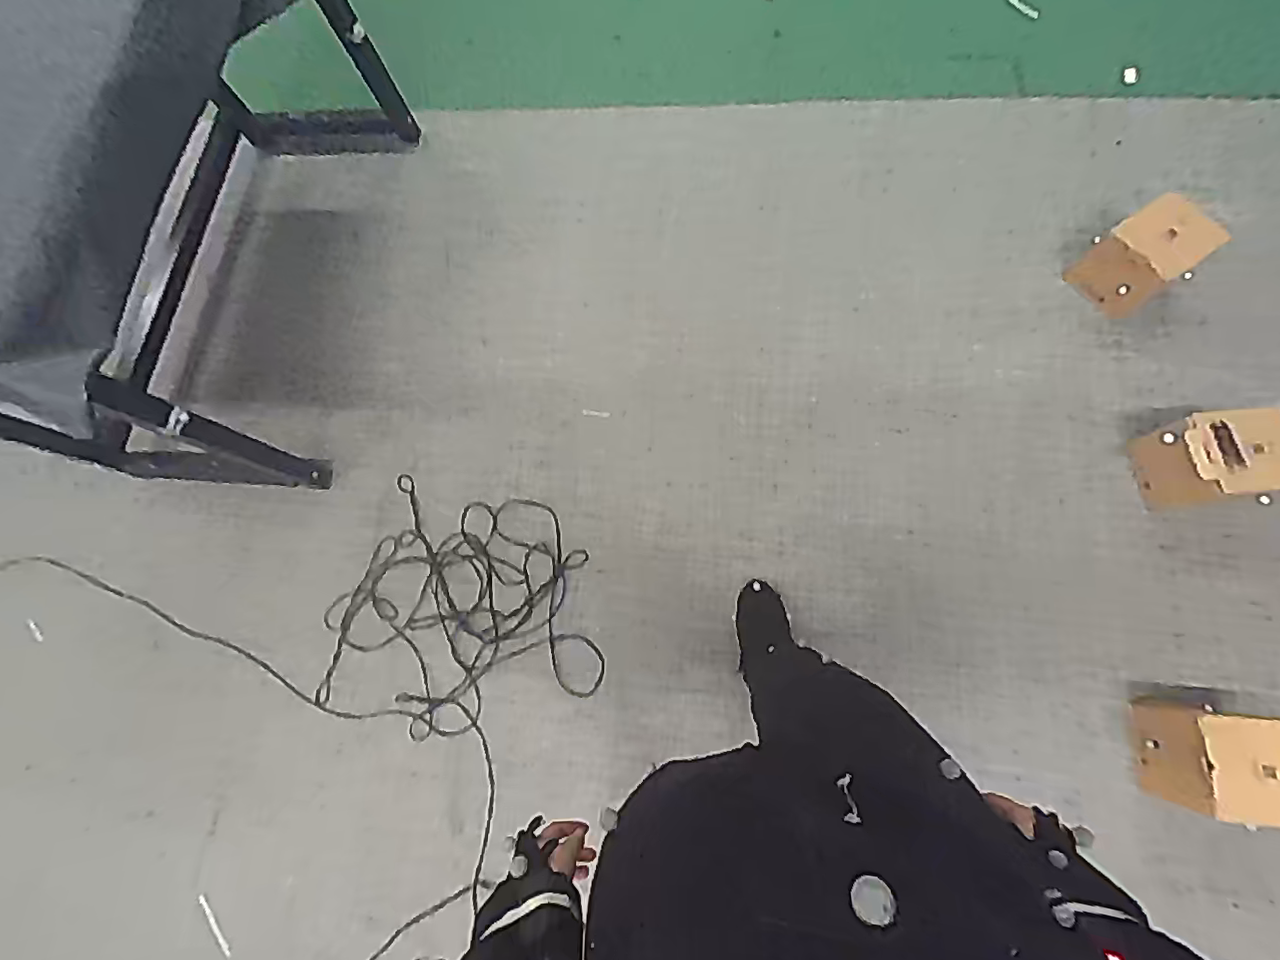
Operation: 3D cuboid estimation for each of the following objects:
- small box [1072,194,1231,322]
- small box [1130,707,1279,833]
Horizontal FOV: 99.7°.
[{"bbox_3d":[1.152,-0.500,1.241,0.179,0.176,0.168,-34,75,-5],"label":"small box"},{"bbox_3d":[1.042,0.511,0.967,0.179,0.176,0.168,3,75,8],"label":"small box"}]
